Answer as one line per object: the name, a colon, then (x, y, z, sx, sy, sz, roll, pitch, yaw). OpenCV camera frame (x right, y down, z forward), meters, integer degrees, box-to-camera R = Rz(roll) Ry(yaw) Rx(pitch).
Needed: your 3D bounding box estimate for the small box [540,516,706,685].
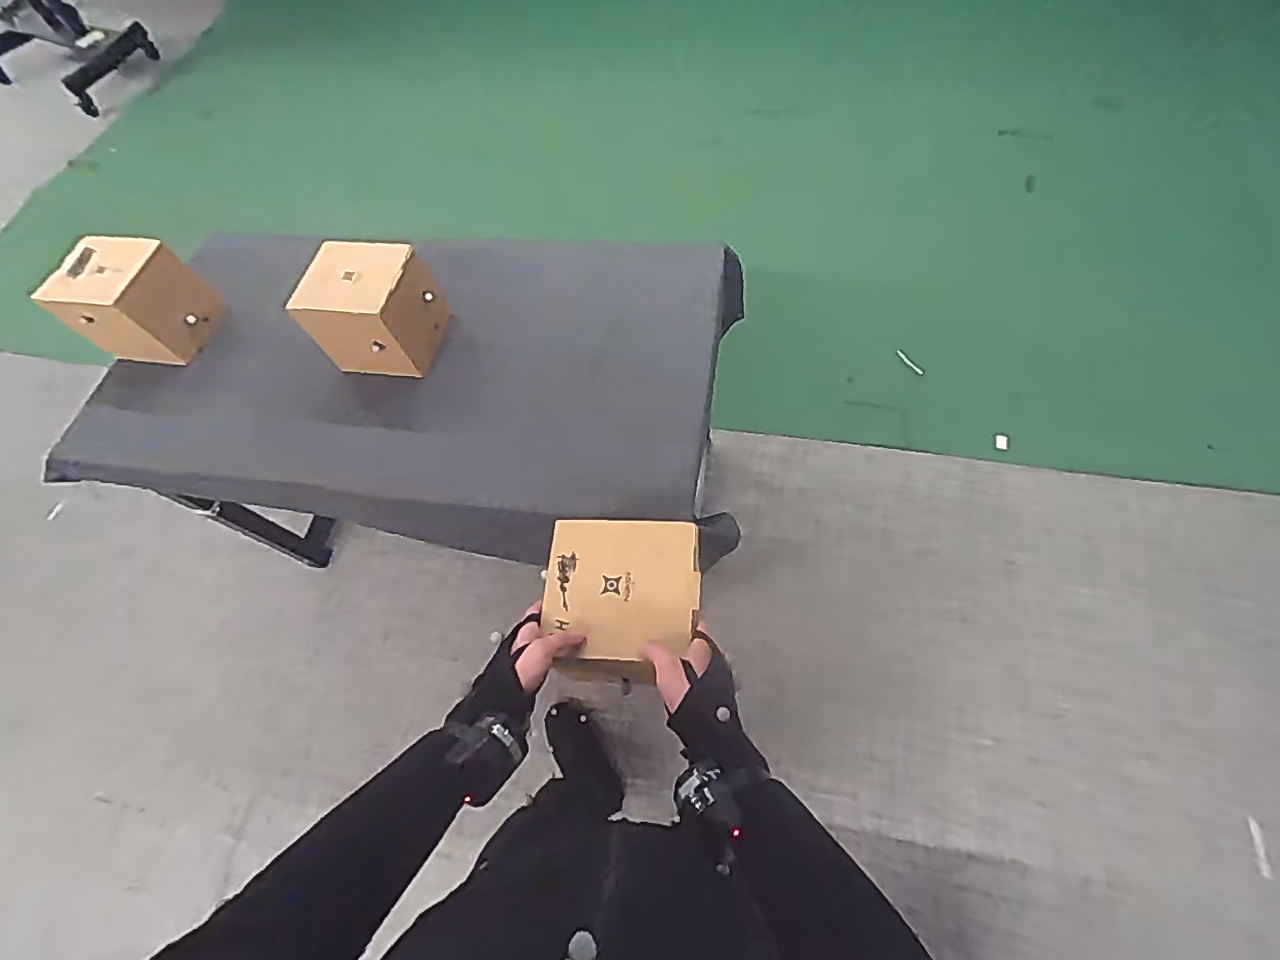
small box: (-0.010, 0.158, 0.680, 0.179, 0.176, 0.168, 2, 62, 6)

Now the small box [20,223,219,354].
small box: (-0.977, -0.360, 1.033, 0.179, 0.176, 0.168, 7, 65, 7)

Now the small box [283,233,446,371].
small box: (-0.477, -0.314, 0.972, 0.179, 0.176, 0.168, 6, 63, 9)
